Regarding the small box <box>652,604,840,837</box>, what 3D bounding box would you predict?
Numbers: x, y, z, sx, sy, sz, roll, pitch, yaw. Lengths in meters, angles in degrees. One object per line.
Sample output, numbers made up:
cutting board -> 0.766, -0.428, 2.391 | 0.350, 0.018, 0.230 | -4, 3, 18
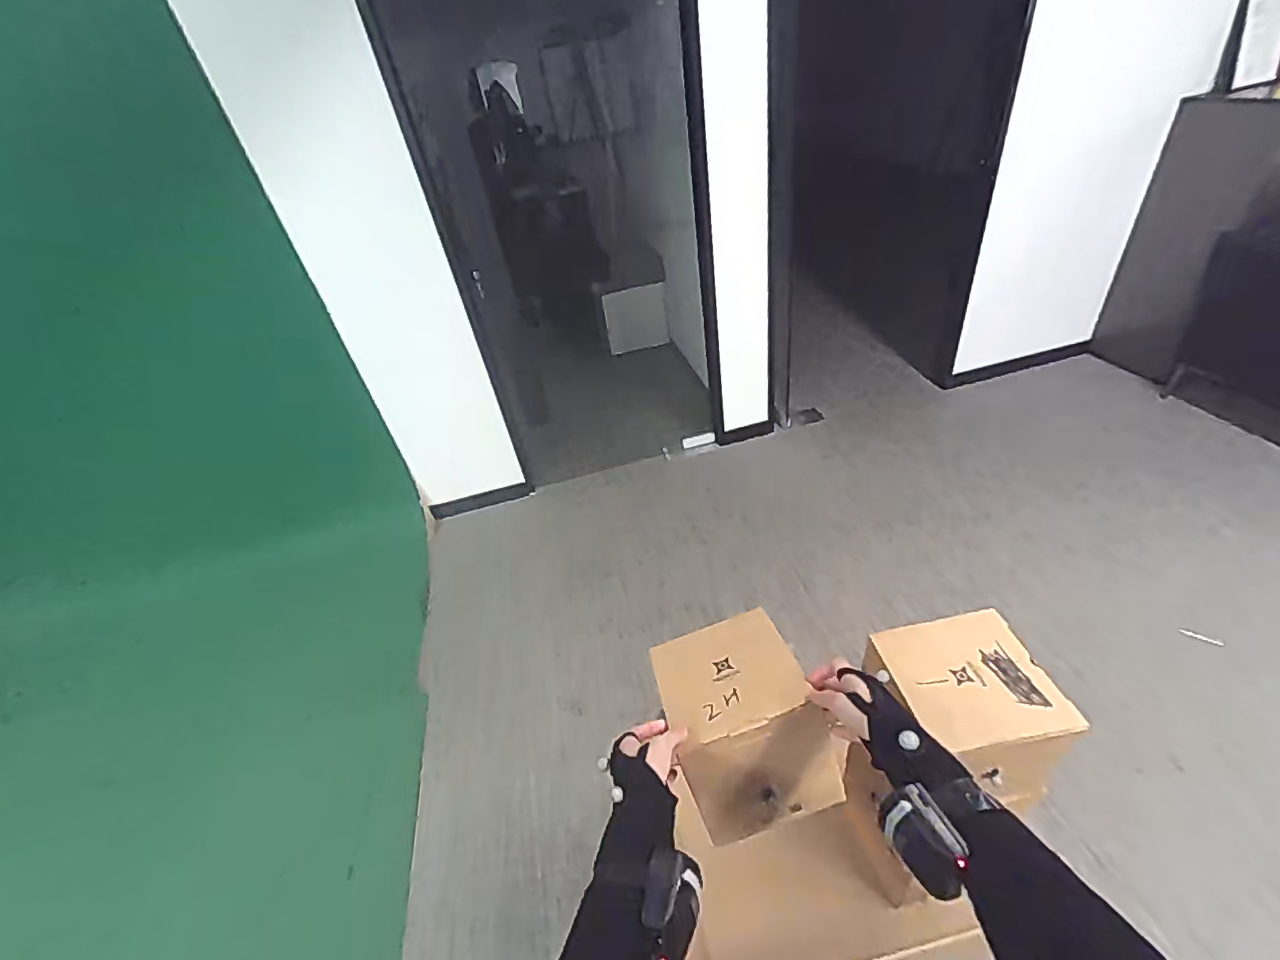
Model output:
small box -> 0.127, 0.294, 0.677 | 0.168, 0.176, 0.179 | -21, 23, 0

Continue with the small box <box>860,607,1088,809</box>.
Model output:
small box -> 0.408, 0.295, 0.699 | 0.179, 0.176, 0.168 | -12, 38, 0
